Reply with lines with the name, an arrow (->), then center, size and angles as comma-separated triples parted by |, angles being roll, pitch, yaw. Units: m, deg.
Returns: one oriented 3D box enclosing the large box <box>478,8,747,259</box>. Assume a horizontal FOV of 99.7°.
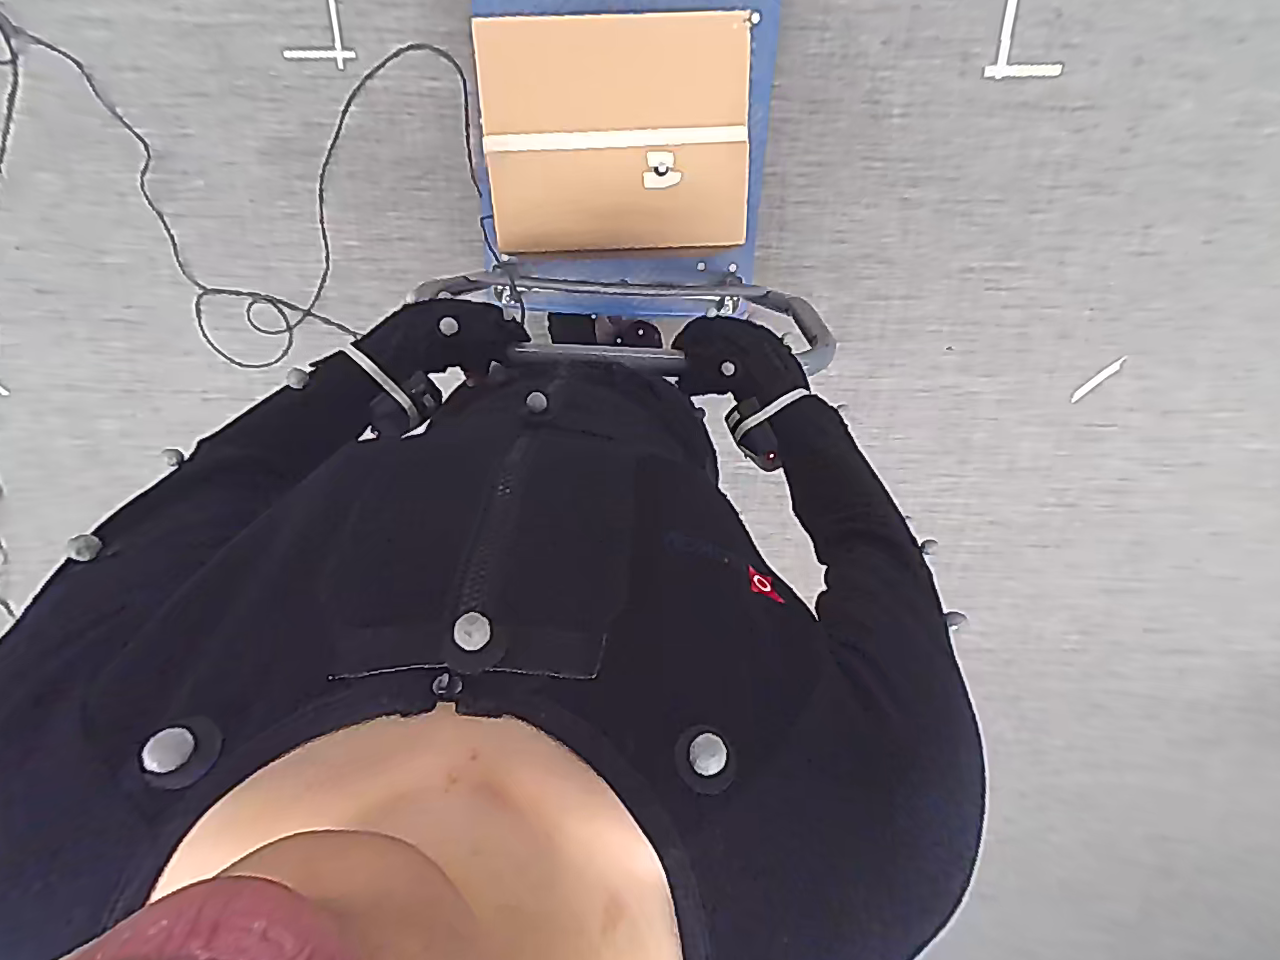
large box -> -0.040, -0.587, 0.982 | 0.408, 0.320, 0.320 | -3, 110, -2
